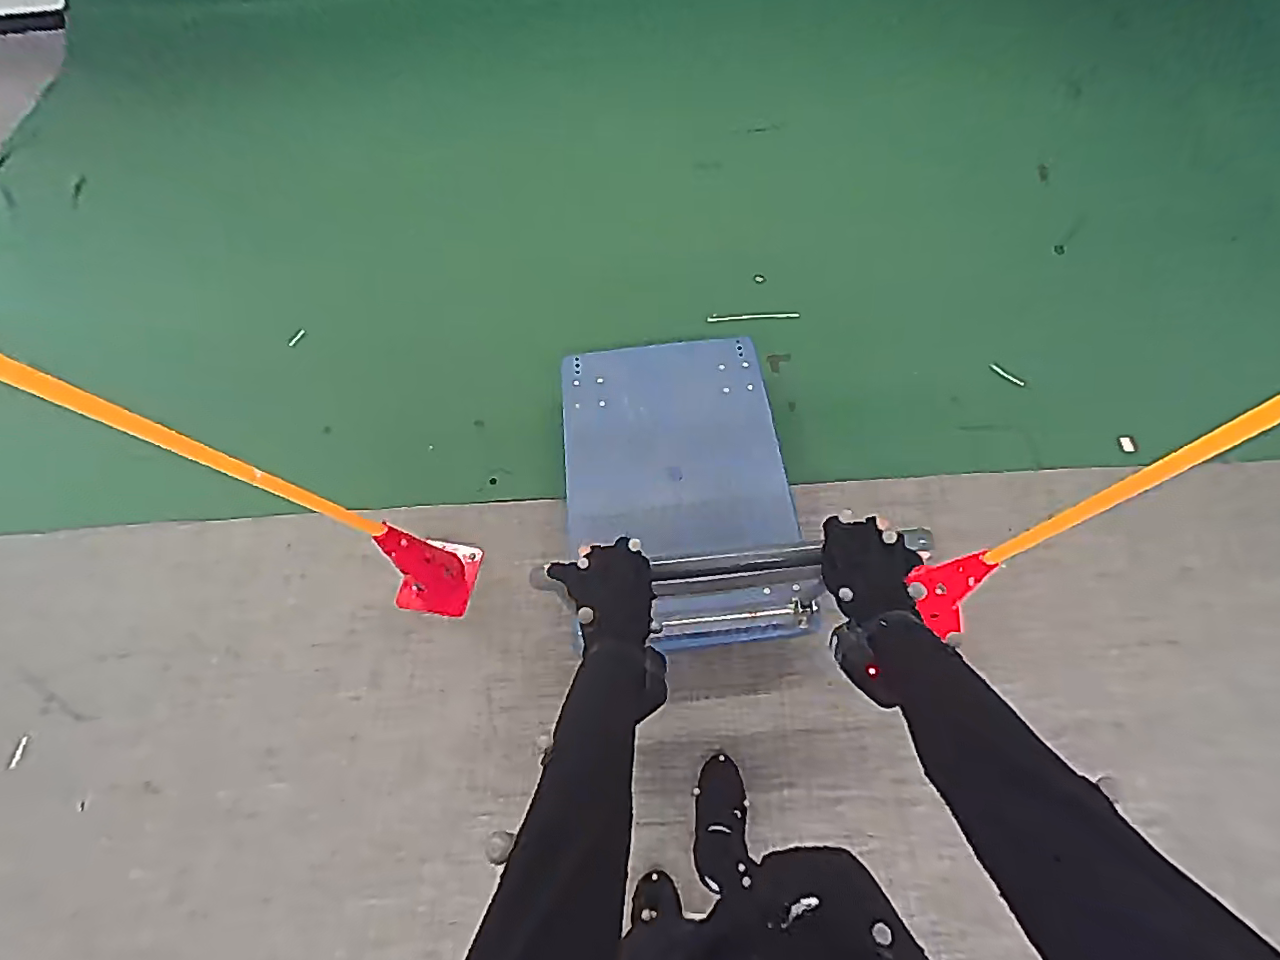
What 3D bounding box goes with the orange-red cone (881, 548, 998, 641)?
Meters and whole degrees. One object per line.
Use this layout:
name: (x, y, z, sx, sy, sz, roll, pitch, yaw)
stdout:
orange-red cone: (0.725, 0.237, 1.262, 0.198, 0.360, 0.199, 7, 65, 7)
